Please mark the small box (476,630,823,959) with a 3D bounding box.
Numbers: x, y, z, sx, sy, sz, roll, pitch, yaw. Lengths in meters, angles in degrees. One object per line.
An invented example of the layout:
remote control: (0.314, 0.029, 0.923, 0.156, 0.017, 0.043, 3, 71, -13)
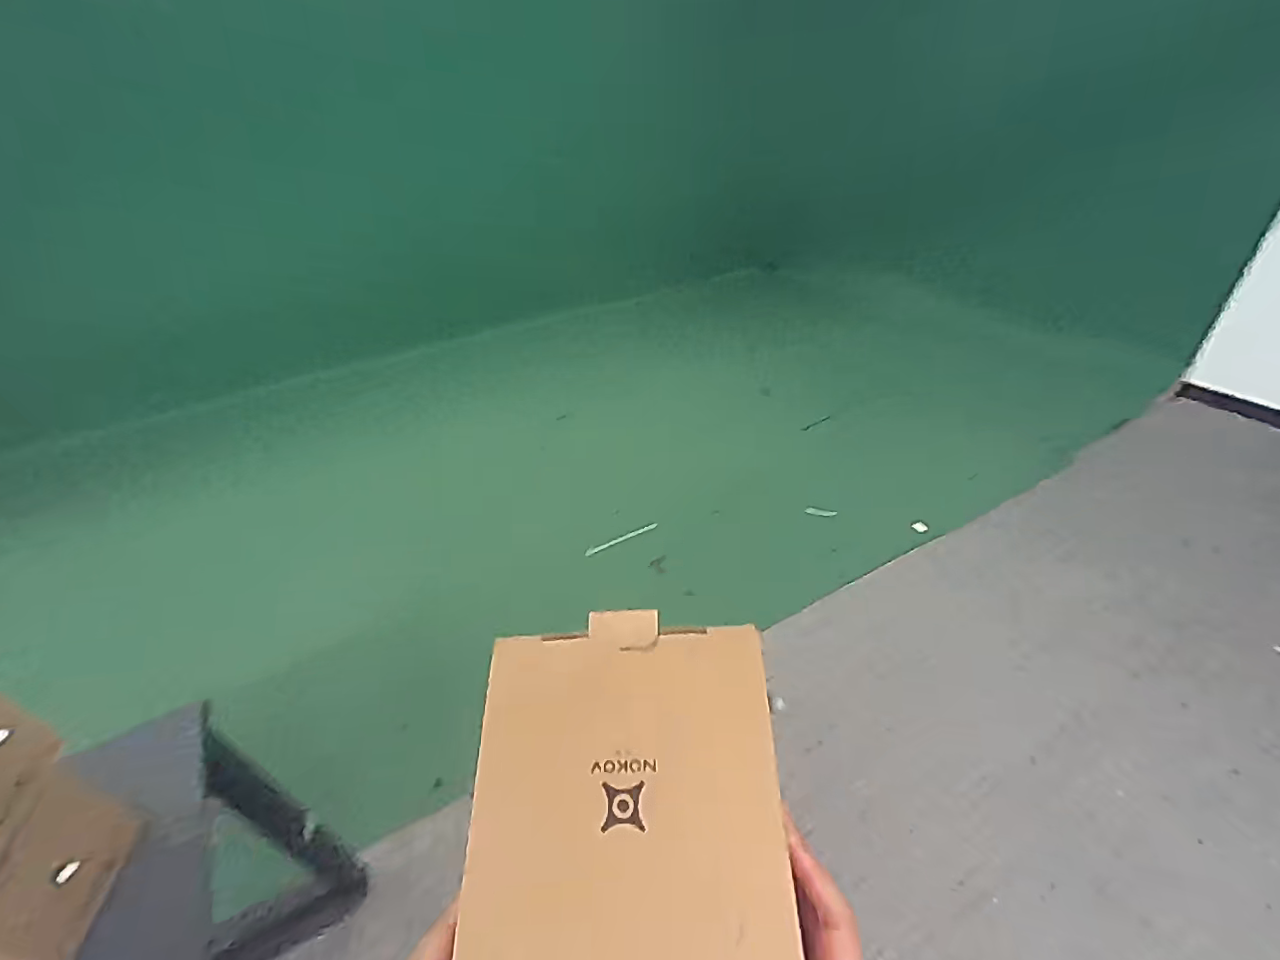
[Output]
small box: (0.012, 0.210, 0.351, 0.168, 0.176, 0.179, -3, 56, 5)
